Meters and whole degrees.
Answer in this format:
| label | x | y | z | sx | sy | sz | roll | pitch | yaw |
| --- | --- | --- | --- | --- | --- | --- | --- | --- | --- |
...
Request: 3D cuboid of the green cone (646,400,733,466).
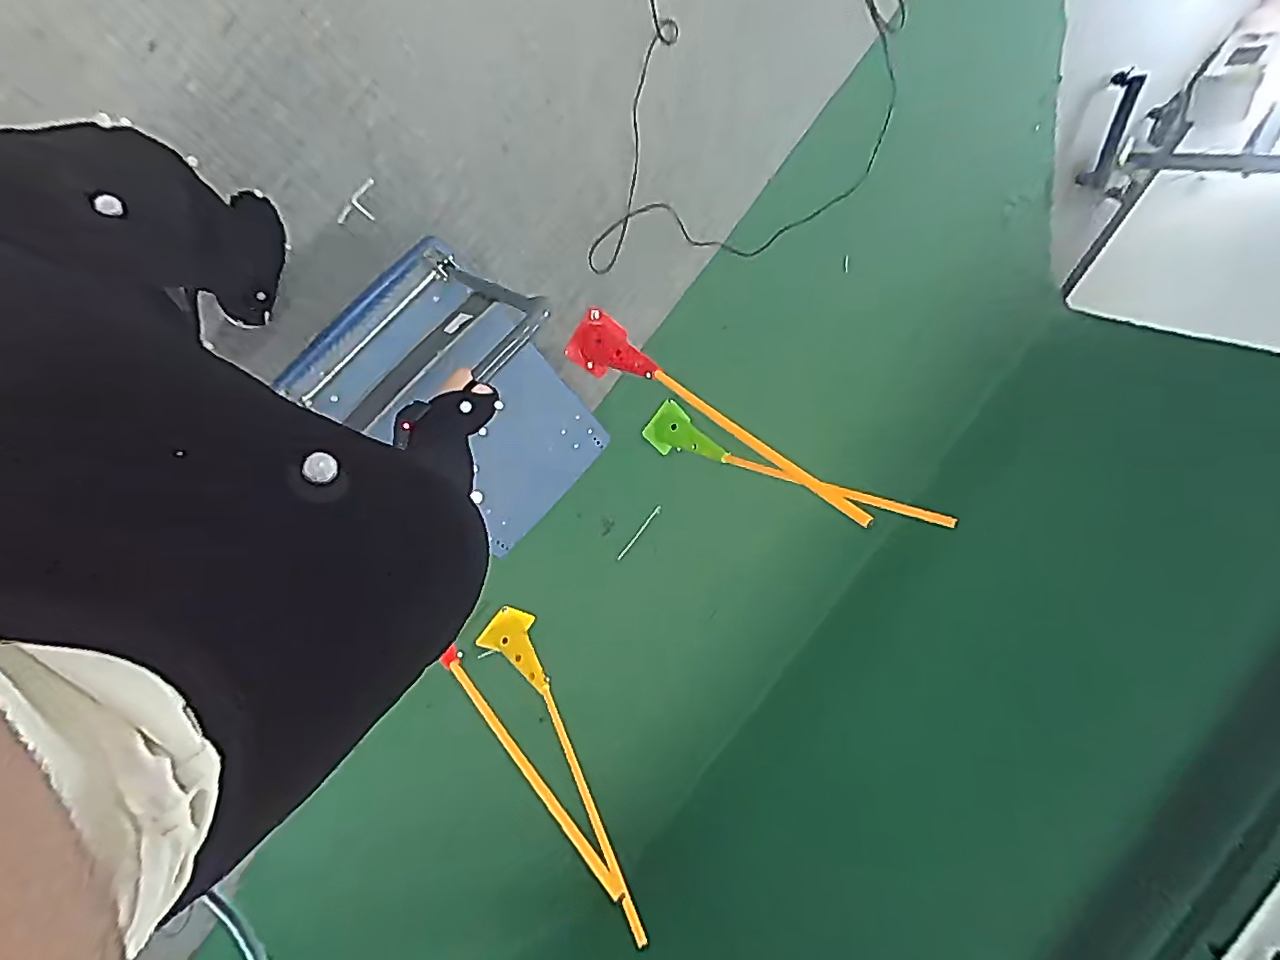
| label | x | y | z | sx | sy | sz | roll | pitch | yaw |
| --- | --- | --- | --- | --- | --- | --- | --- | --- | --- |
| green cone | 0.230 | -0.146 | 2.189 | 0.200 | 0.368 | 0.202 | -54 | 139 | -2 |
